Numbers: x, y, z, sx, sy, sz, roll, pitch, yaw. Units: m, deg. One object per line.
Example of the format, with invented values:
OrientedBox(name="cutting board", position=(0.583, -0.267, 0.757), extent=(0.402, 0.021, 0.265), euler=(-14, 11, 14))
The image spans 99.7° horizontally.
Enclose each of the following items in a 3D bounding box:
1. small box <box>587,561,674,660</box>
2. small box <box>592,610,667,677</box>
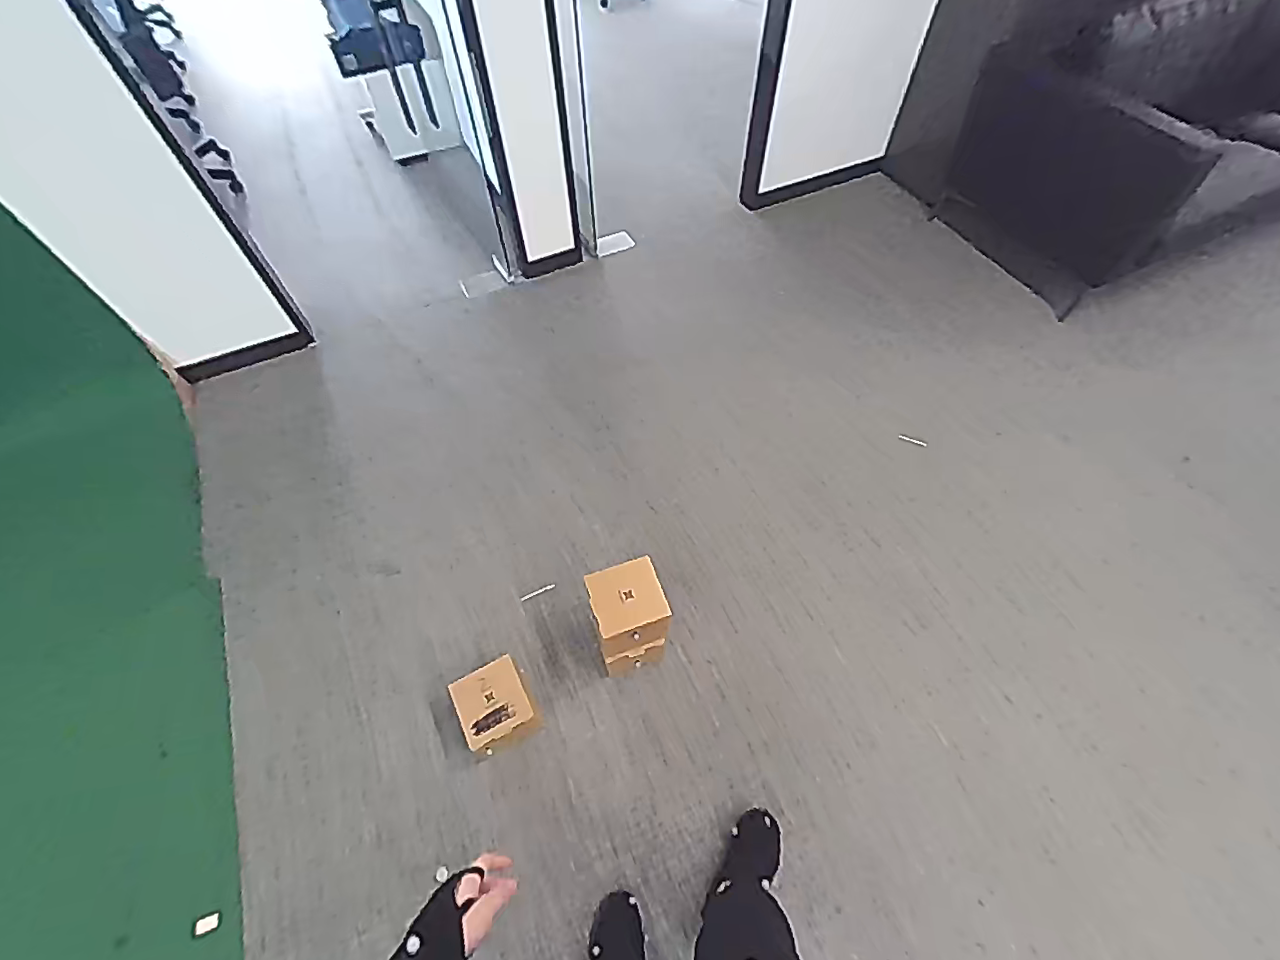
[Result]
OrientedBox(name="small box", position=(-0.025, 0.334, 1.372), extent=(0.179, 0.176, 0.168), euler=(-18, 59, -9))
OrientedBox(name="small box", position=(-0.029, 0.432, 1.503), extent=(0.168, 0.176, 0.179), euler=(-15, 59, -10))
